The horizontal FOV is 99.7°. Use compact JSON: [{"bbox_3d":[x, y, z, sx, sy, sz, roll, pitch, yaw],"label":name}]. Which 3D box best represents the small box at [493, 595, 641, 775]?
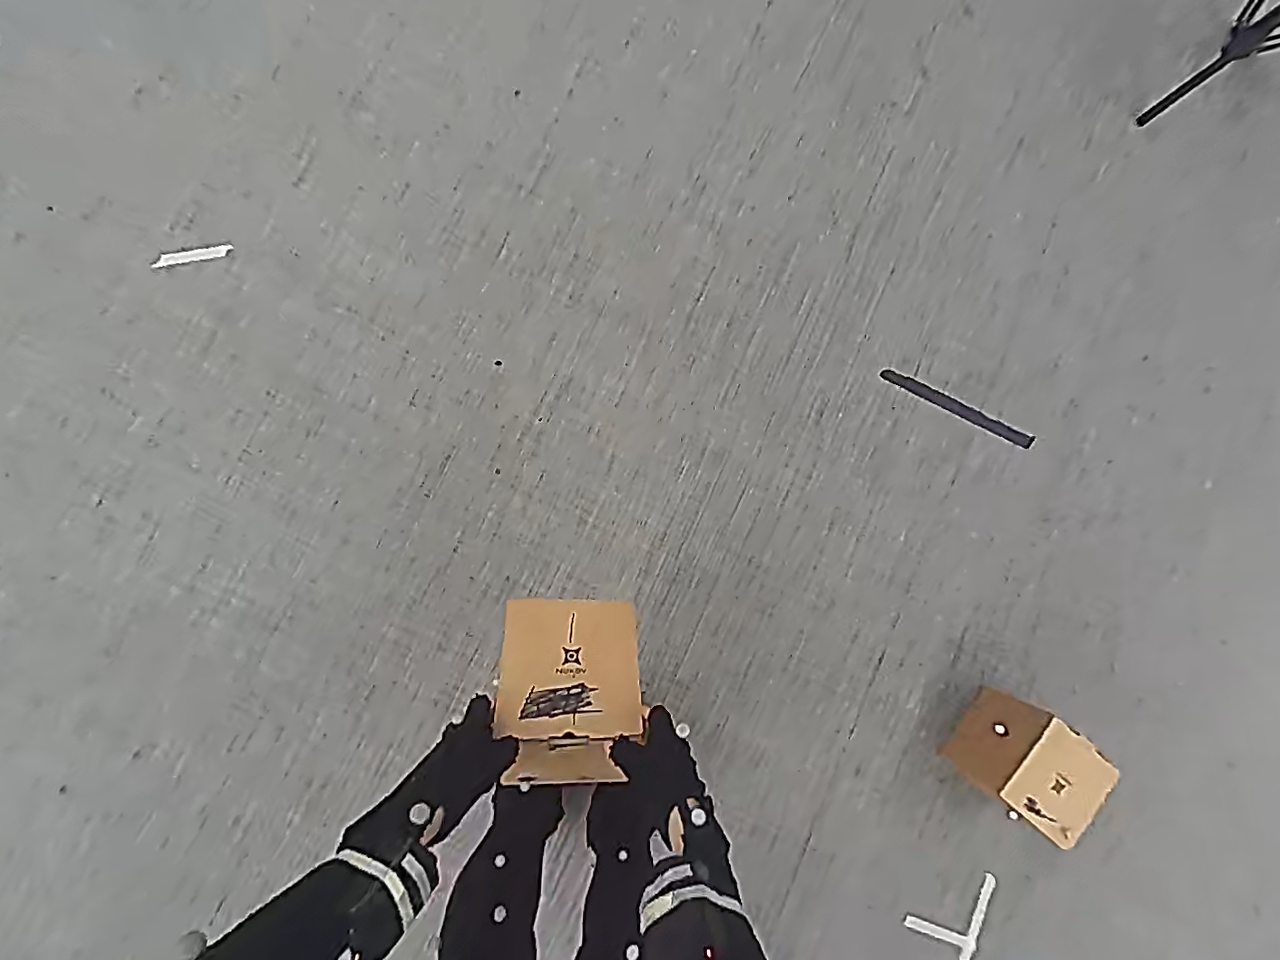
[{"bbox_3d":[-0.092,0.271,0.704,0.168,0.176,0.179,3,45,-8],"label":"small box"}]

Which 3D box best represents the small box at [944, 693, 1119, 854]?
[{"bbox_3d":[0.725,0.538,1.021,0.168,0.176,0.179,41,82,-2],"label":"small box"}]
